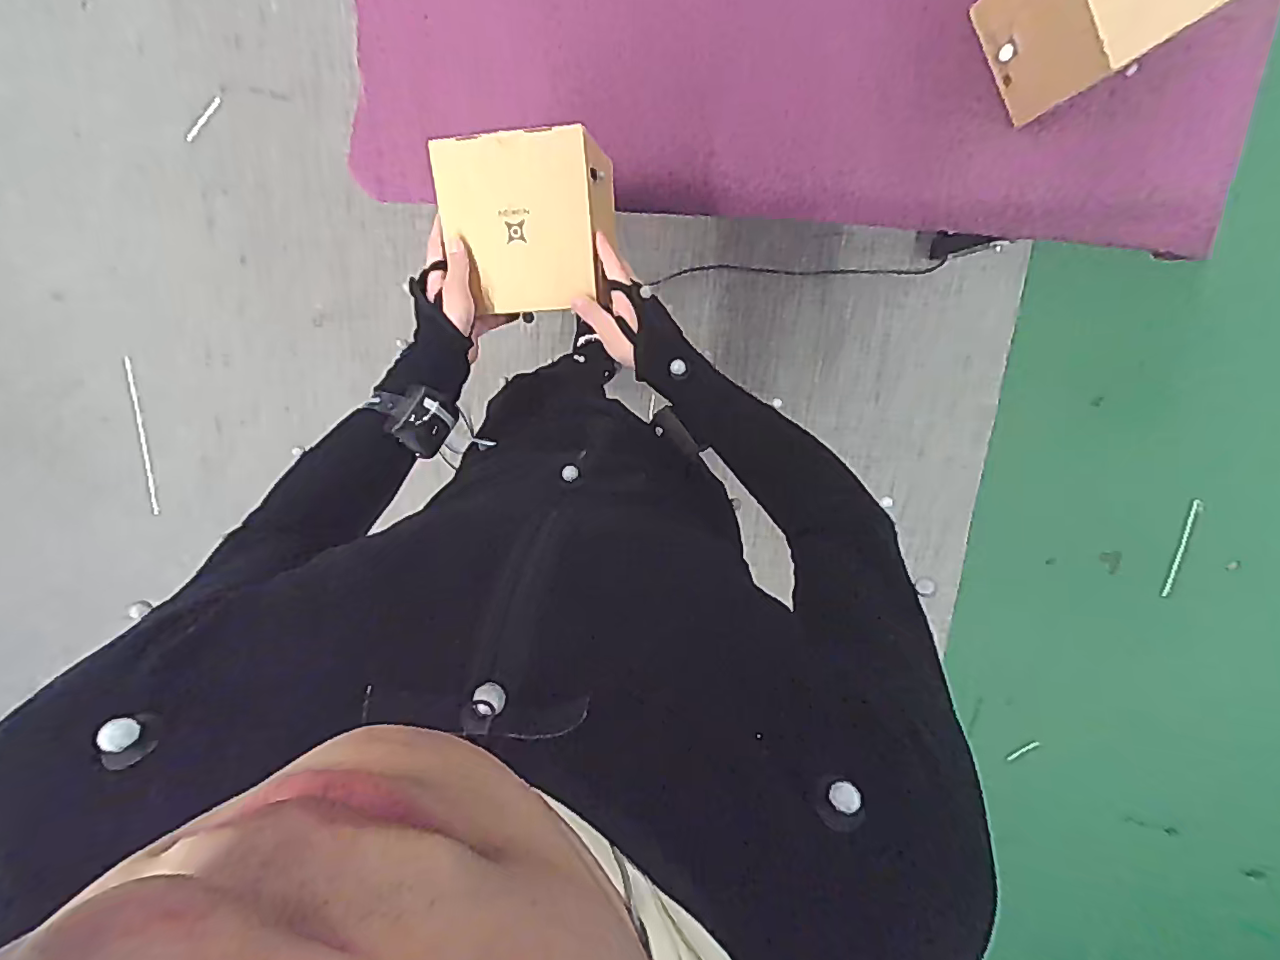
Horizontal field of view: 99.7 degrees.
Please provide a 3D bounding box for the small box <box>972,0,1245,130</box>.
[{"bbox_3d":[0.546,-0.566,0.641,0.179,0.176,0.168,-30,102,9],"label":"small box"}]

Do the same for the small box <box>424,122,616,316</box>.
[{"bbox_3d":[-0.125,-0.294,0.640,0.168,0.176,0.179,-1,109,8],"label":"small box"}]
